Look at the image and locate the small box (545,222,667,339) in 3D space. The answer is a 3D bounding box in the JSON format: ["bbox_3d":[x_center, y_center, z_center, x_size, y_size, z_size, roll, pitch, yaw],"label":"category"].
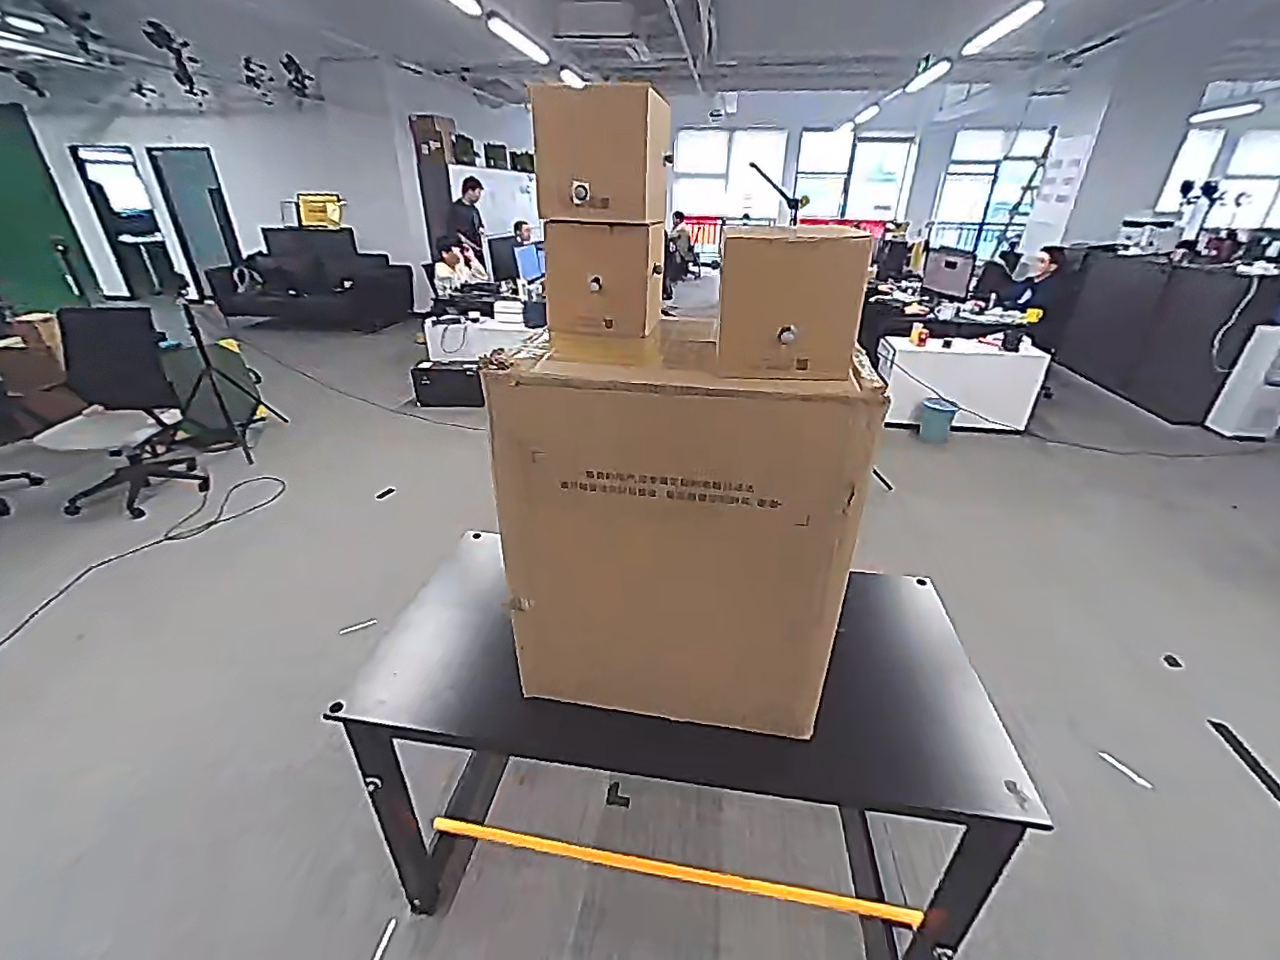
[{"bbox_3d":[-0.049,-0.341,0.907,0.168,0.176,0.179,6,28,8],"label":"small box"}]

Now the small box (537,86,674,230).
[{"bbox_3d":[-0.045,-0.478,0.817,0.168,0.176,0.179,6,28,10],"label":"small box"}]

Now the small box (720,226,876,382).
[{"bbox_3d":[0.194,-0.239,0.719,0.168,0.176,0.179,2,29,7],"label":"small box"}]
